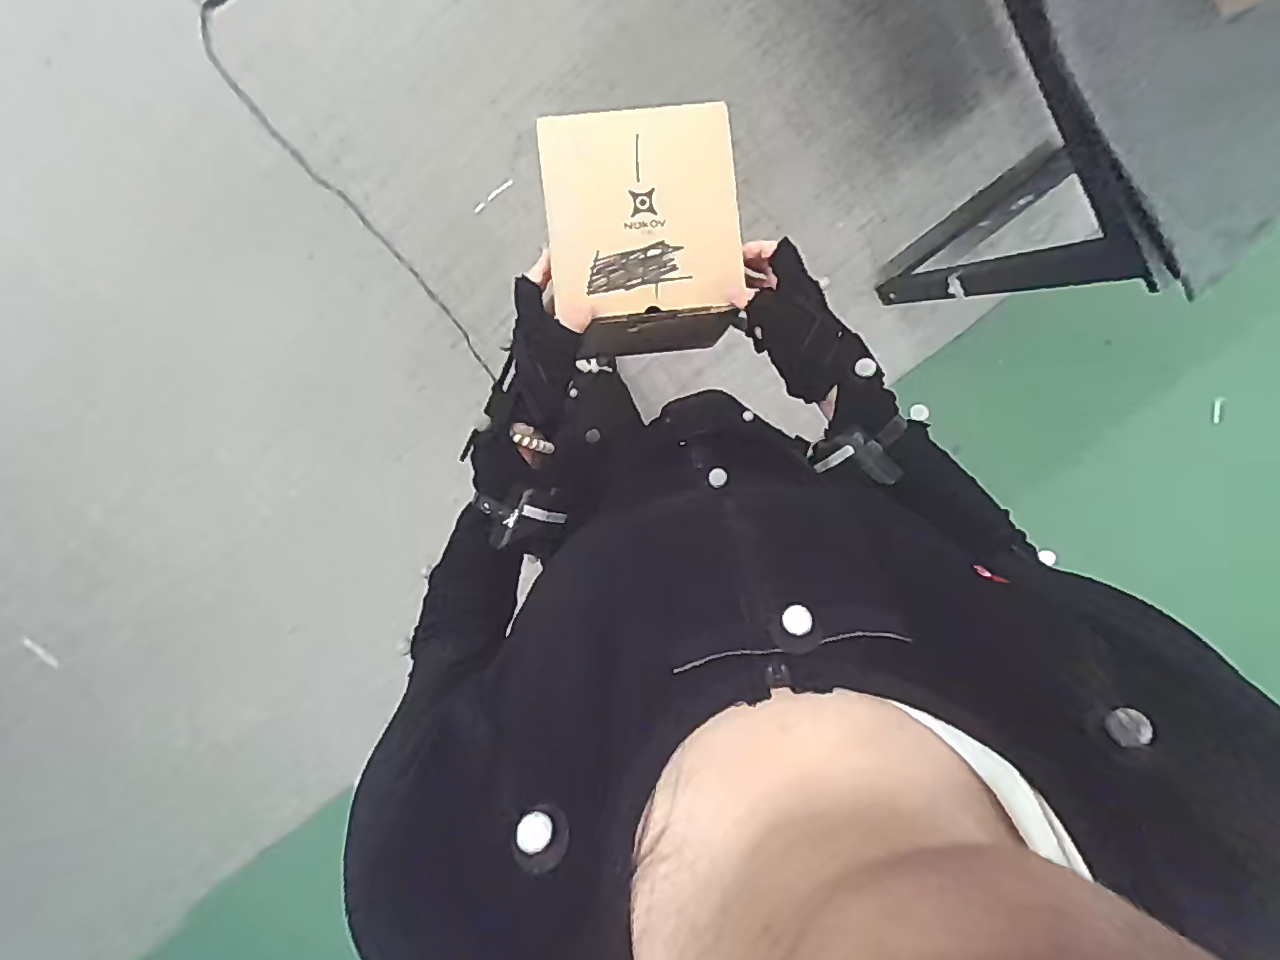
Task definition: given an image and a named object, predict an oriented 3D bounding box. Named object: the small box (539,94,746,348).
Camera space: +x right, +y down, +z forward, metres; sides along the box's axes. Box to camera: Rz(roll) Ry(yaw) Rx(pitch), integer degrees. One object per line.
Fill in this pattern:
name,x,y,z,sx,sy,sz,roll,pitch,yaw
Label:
small box,0.001,-0.233,0.534,0.168,0.176,0.179,-5,91,-2
